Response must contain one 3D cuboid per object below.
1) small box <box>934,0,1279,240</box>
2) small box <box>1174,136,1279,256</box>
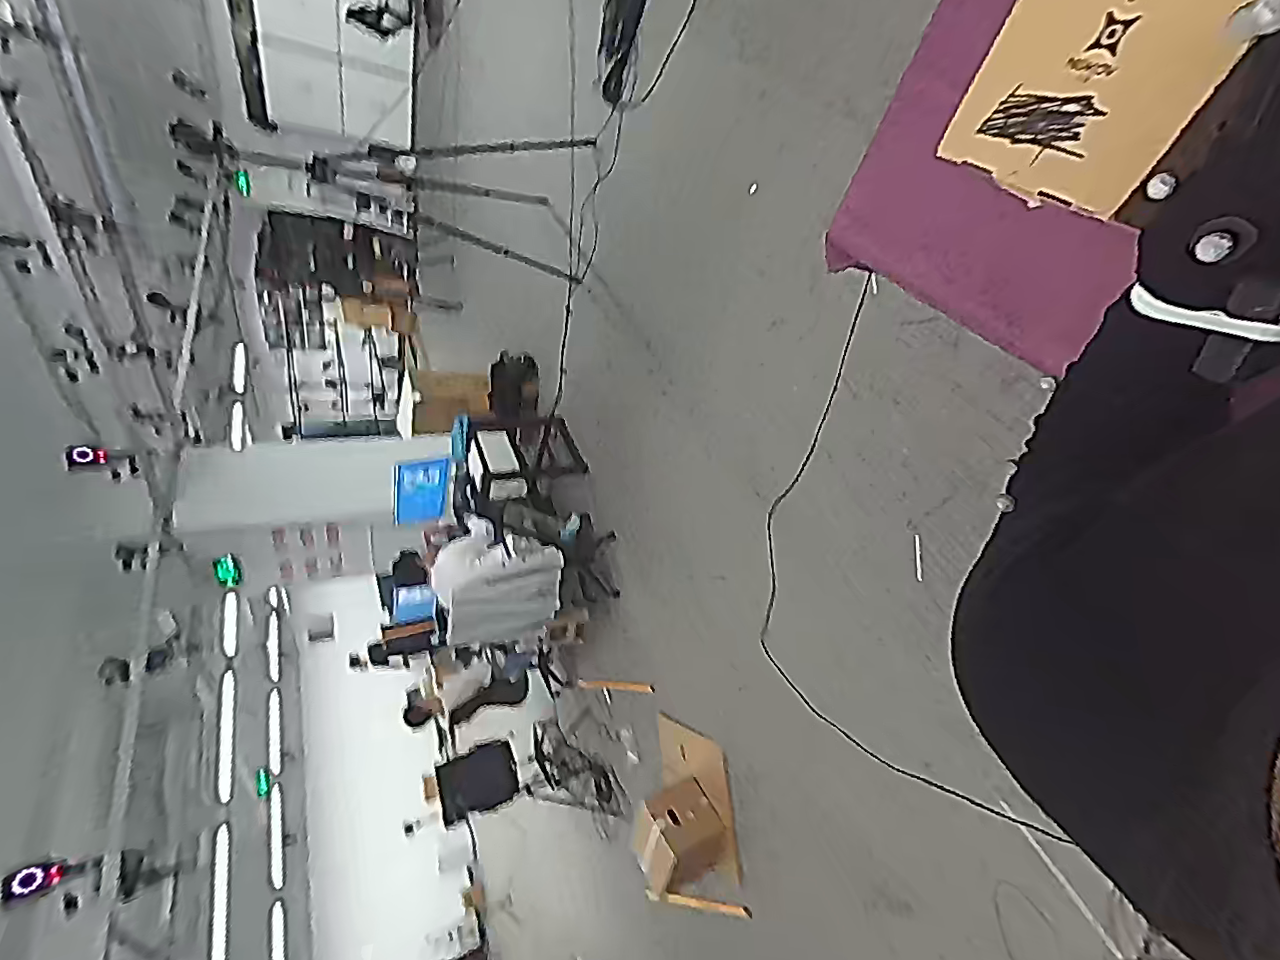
[{"bbox_3d":[0.388,-0.310,0.422,0.168,0.176,0.179,58,140,38],"label":"small box"},{"bbox_3d":[0.531,-0.325,0.503,0.179,0.176,0.168,59,141,38],"label":"small box"}]
